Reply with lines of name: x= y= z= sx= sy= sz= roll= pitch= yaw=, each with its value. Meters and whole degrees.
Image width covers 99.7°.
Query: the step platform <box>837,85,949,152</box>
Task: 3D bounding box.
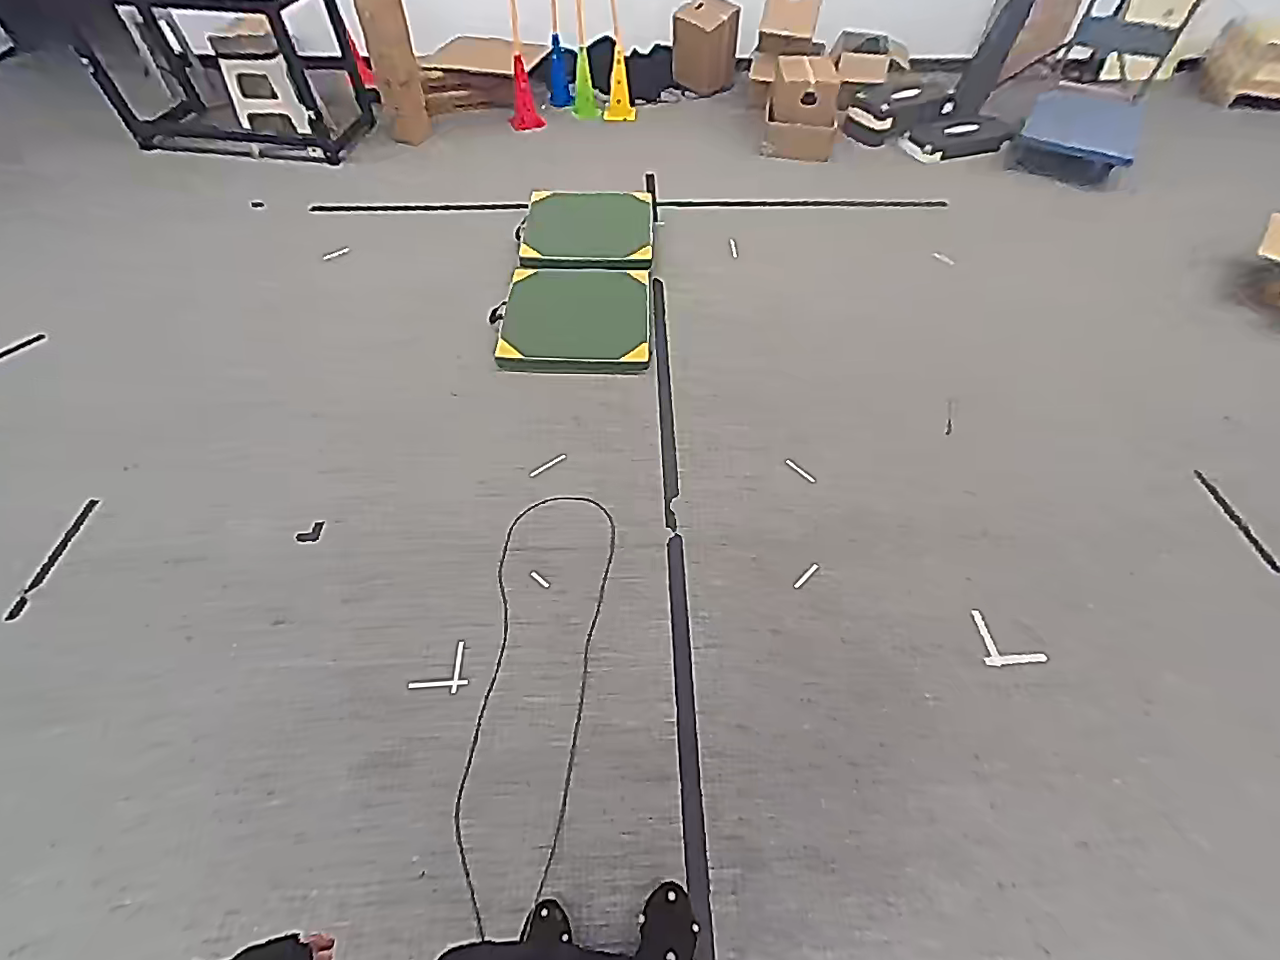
step platform: x=1.598 y=-2.286 z=3.406 sx=0.684 sy=0.204 sz=0.286 roll=-25 pitch=59 yaw=-18
